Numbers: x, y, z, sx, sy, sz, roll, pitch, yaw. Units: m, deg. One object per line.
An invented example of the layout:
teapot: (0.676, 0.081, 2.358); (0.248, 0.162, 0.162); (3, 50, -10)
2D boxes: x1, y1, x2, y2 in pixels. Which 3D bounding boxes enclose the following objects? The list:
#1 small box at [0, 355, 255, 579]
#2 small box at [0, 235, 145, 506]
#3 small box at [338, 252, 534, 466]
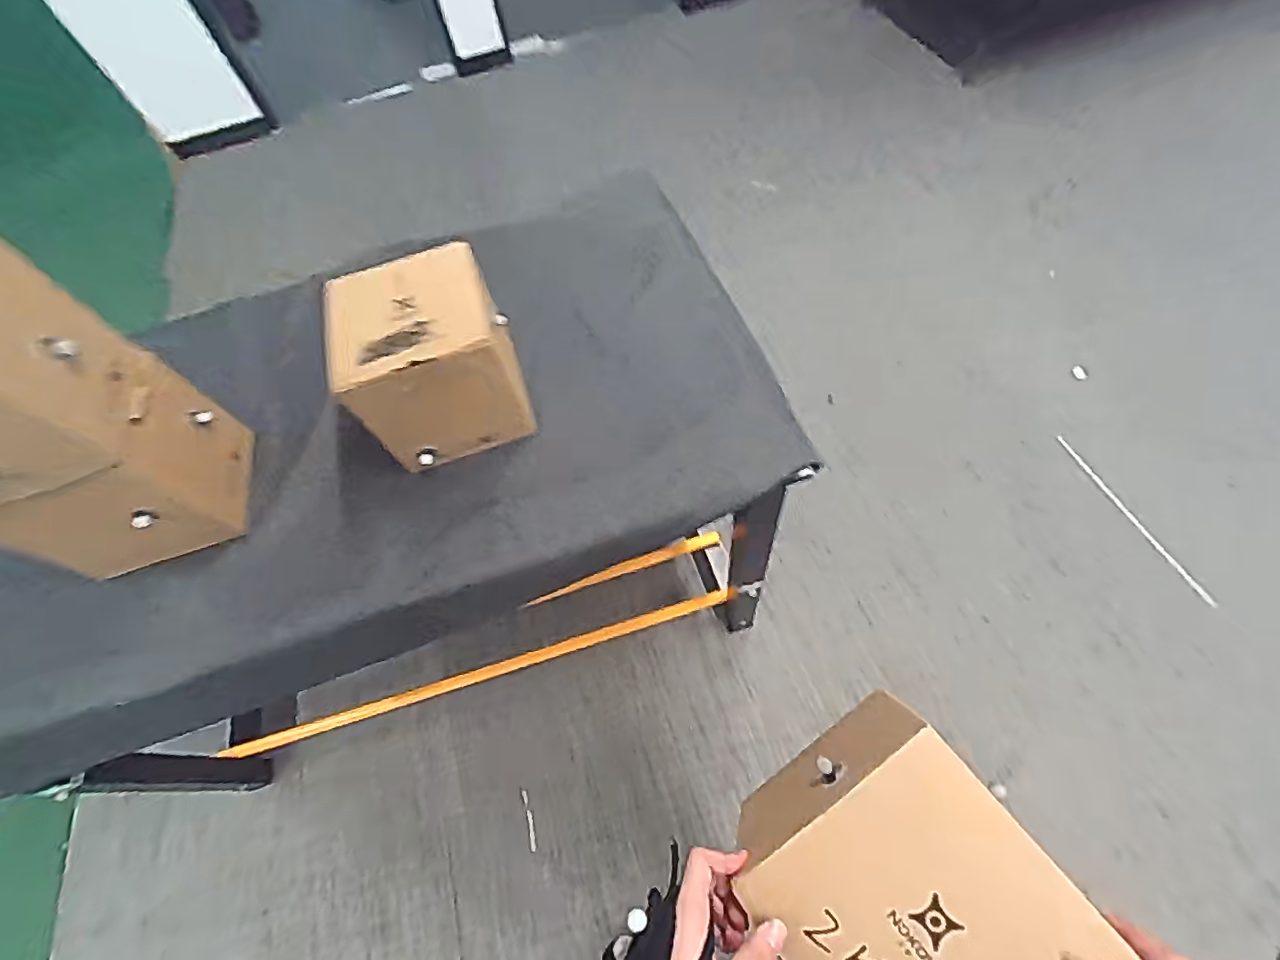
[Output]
small box: (-0.590, -0.008, 0.627); (0.179, 0.176, 0.168); (-19, 58, -4)
small box: (-0.605, -0.089, 0.484); (0.179, 0.176, 0.168); (-20, 58, -6)
small box: (-0.240, -0.137, 0.660); (0.168, 0.176, 0.179); (-18, 58, -4)
